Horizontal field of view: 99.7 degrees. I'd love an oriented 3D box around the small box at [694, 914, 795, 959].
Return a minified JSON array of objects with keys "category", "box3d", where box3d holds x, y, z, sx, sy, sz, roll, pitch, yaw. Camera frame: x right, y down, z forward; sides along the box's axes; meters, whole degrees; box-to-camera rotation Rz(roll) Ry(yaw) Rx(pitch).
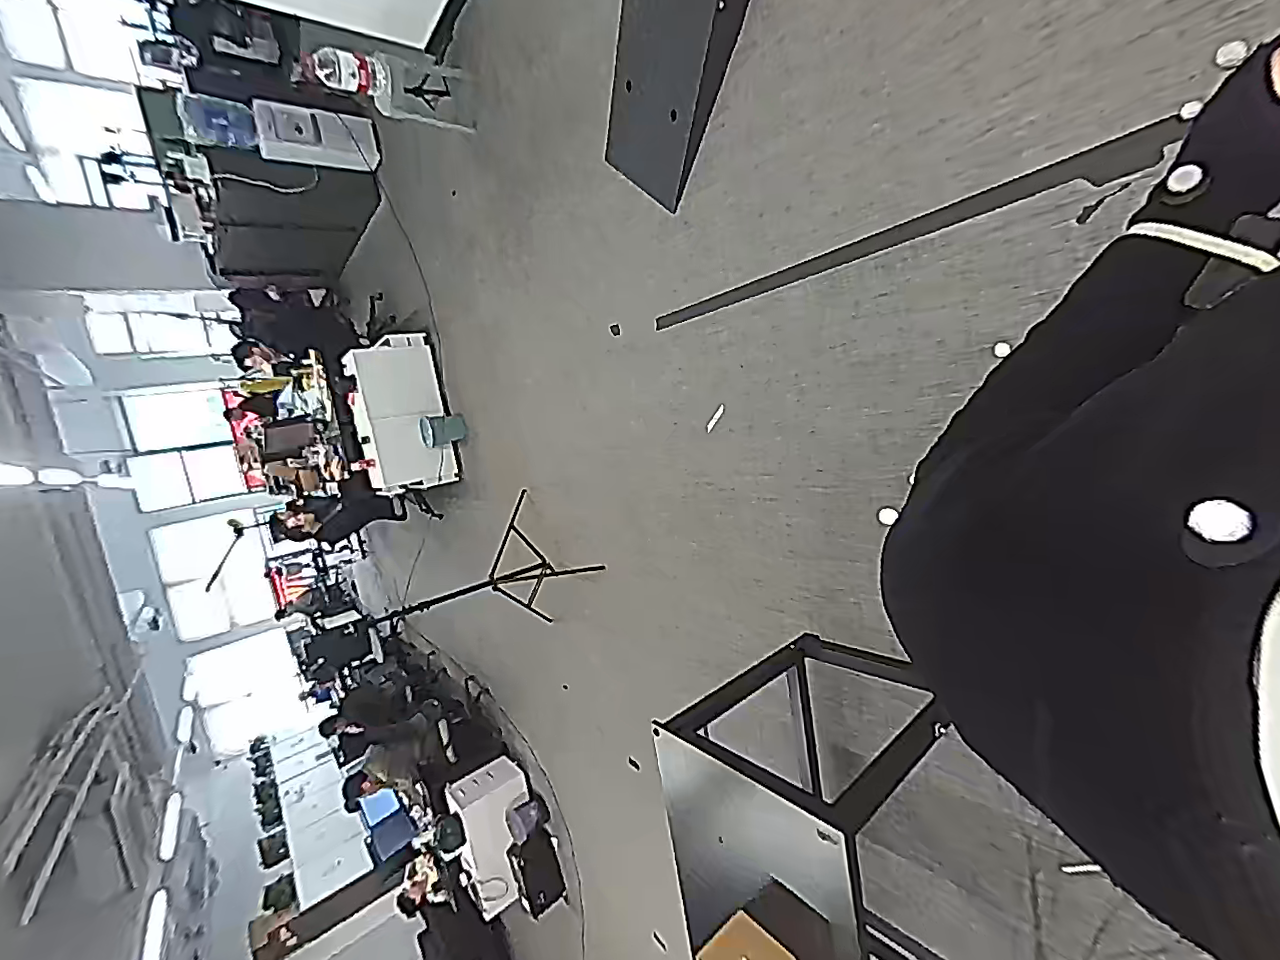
[{"category":"small box","box3d":[0.254,1.195,1.287,0.179,0.176,0.168,6,107,50]}]
